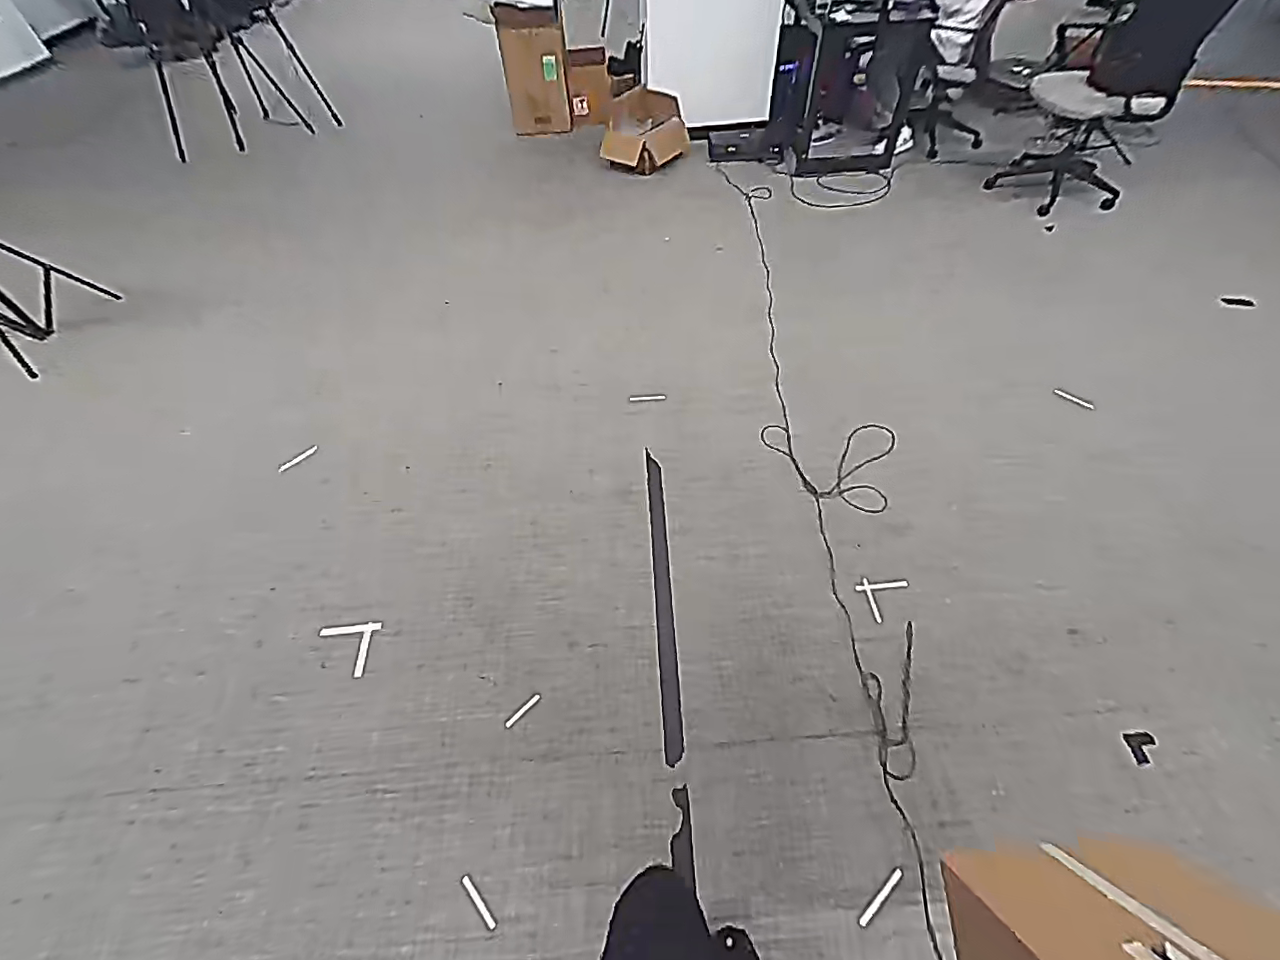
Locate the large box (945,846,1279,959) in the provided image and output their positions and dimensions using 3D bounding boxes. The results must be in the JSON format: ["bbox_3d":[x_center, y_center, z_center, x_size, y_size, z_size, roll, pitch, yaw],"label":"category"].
[{"bbox_3d":[0.610,0.670,0.595,0.320,0.408,0.320,-6,79,3],"label":"large box"}]
